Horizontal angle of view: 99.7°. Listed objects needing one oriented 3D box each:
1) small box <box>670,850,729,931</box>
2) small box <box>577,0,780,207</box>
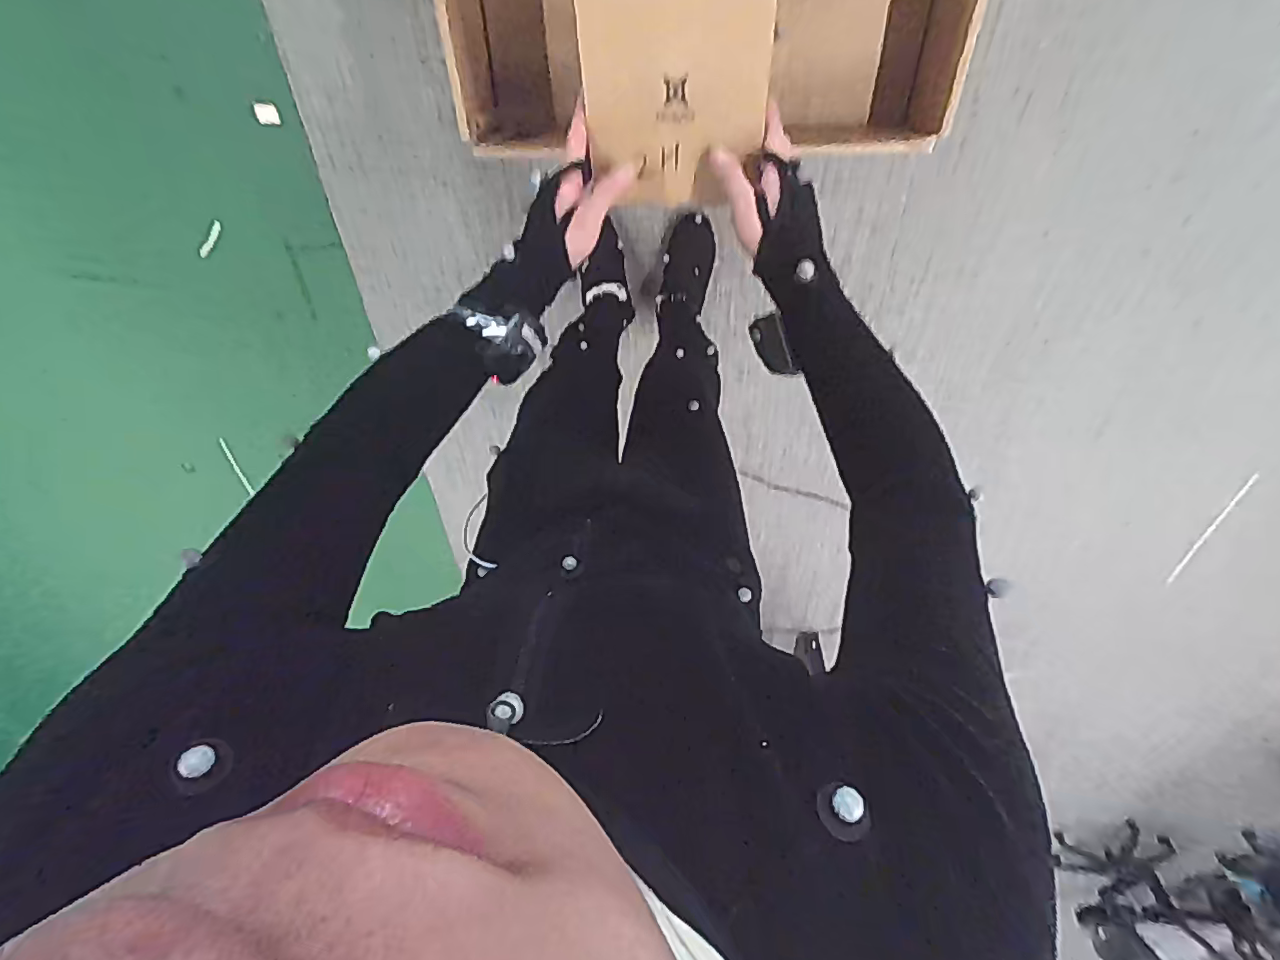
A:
[{"bbox_3d":[0.193,1.304,1.721,0.179,0.176,0.168,-3,128,7],"label":"small box"},{"bbox_3d":[0.040,-0.391,0.535,0.168,0.176,0.179,3,136,7],"label":"small box"}]
